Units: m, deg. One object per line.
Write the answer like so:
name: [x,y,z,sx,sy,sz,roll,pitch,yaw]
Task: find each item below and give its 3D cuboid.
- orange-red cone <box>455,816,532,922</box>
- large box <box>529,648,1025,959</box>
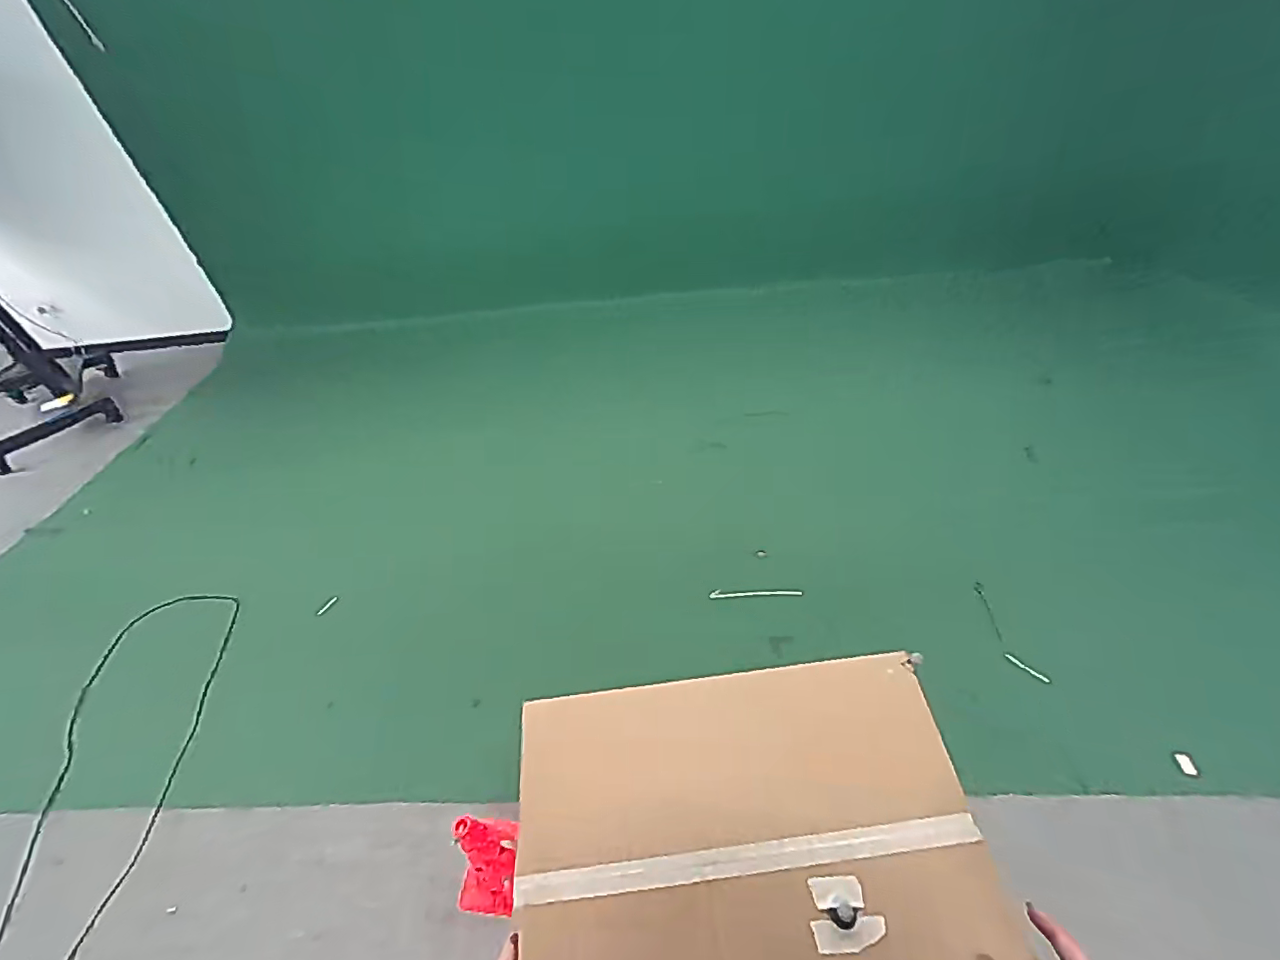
orange-red cone: [-0.358,0.869,1.269,0.199,0.360,0.198,0,42,12]
large box: [0.107,0.419,0.605,0.408,0.320,0.320,-8,54,-1]
